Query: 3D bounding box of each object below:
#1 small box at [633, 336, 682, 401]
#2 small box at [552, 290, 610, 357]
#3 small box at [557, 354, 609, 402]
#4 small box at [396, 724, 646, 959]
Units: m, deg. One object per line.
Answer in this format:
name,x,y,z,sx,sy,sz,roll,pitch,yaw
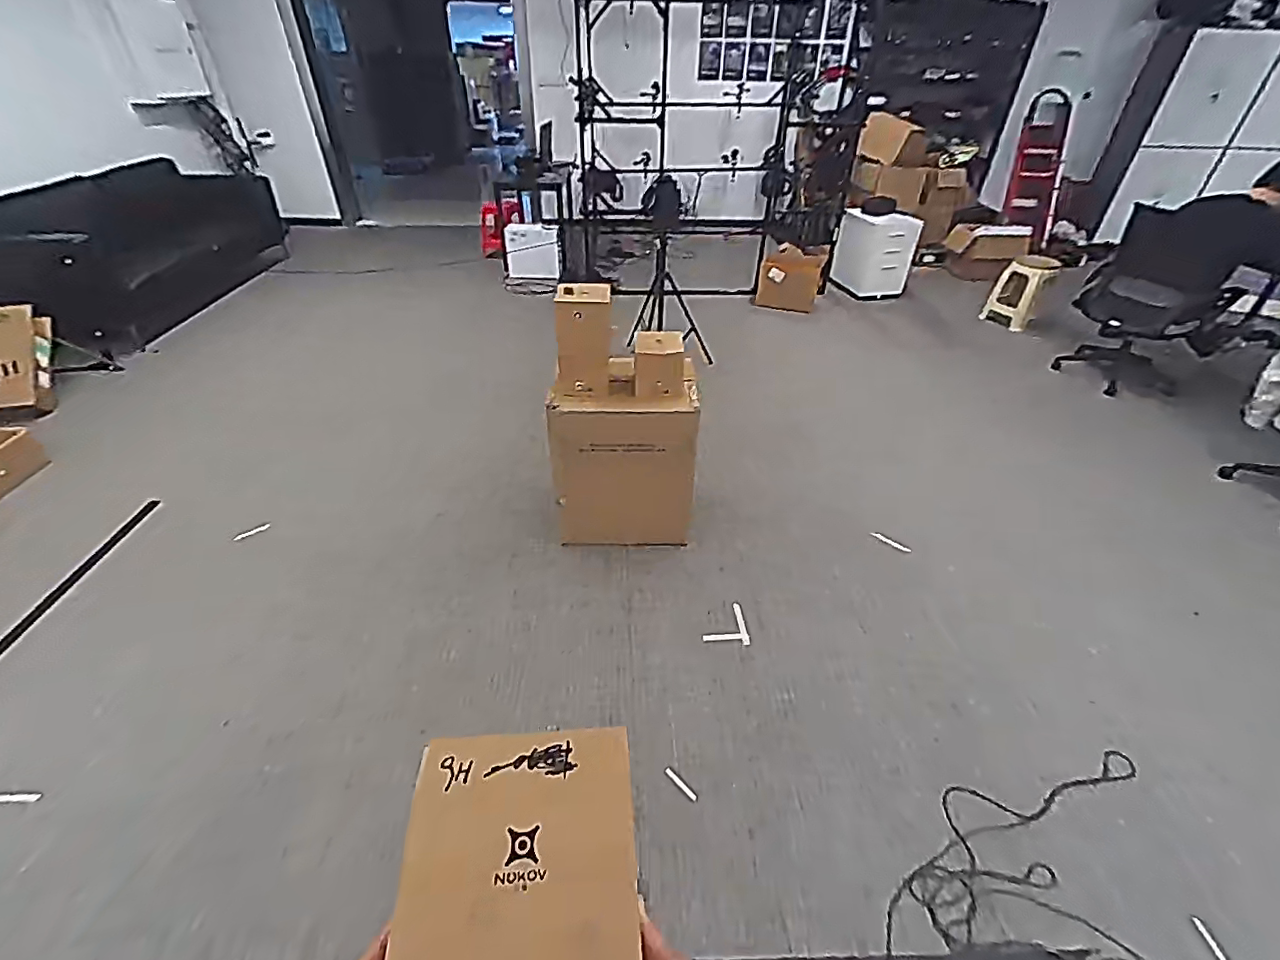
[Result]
small box,0.058,-0.390,1.896,0.168,0.176,0.179,-2,38,0
small box,-0.191,-0.518,1.793,0.179,0.176,0.168,0,38,-2
small box,-0.196,-0.390,1.896,0.168,0.176,0.179,-1,39,-1
small box,-0.082,0.325,0.448,0.168,0.176,0.179,-3,47,-5
